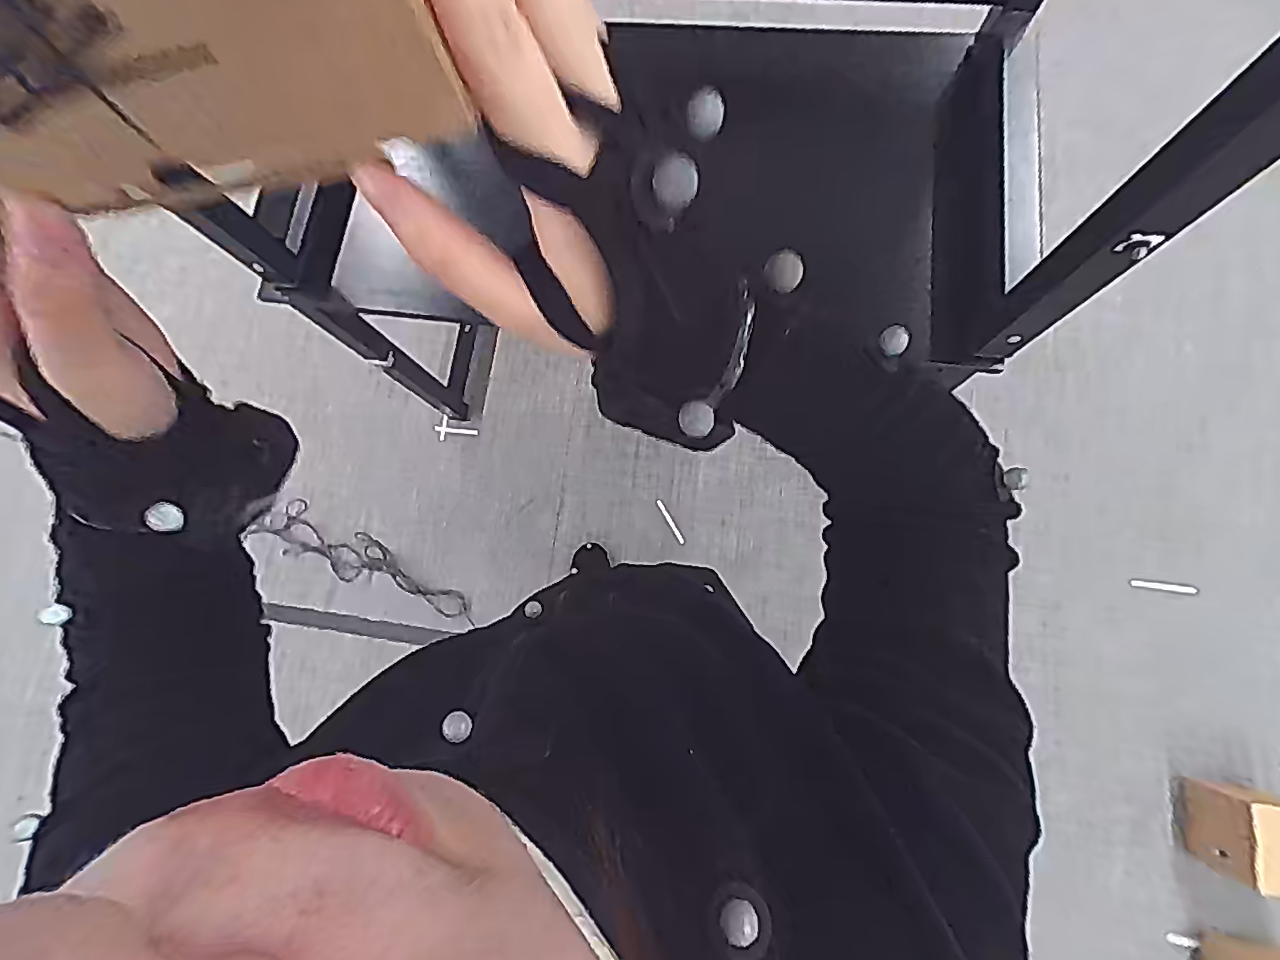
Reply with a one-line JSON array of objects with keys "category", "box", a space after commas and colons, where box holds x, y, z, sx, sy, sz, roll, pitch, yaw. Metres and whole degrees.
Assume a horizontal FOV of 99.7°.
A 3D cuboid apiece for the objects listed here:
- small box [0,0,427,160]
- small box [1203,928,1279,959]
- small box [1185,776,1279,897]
[{"category": "small box", "box": [-0.139, -0.179, 0.064, 0.168, 0.179, 0.176, -5, 76, 8]}, {"category": "small box", "box": [1.341, 1.097, 1.128, 0.168, 0.176, 0.179, 6, 80, 6]}, {"category": "small box", "box": [1.360, 0.783, 1.188, 0.168, 0.176, 0.179, 6, 79, 6]}]
